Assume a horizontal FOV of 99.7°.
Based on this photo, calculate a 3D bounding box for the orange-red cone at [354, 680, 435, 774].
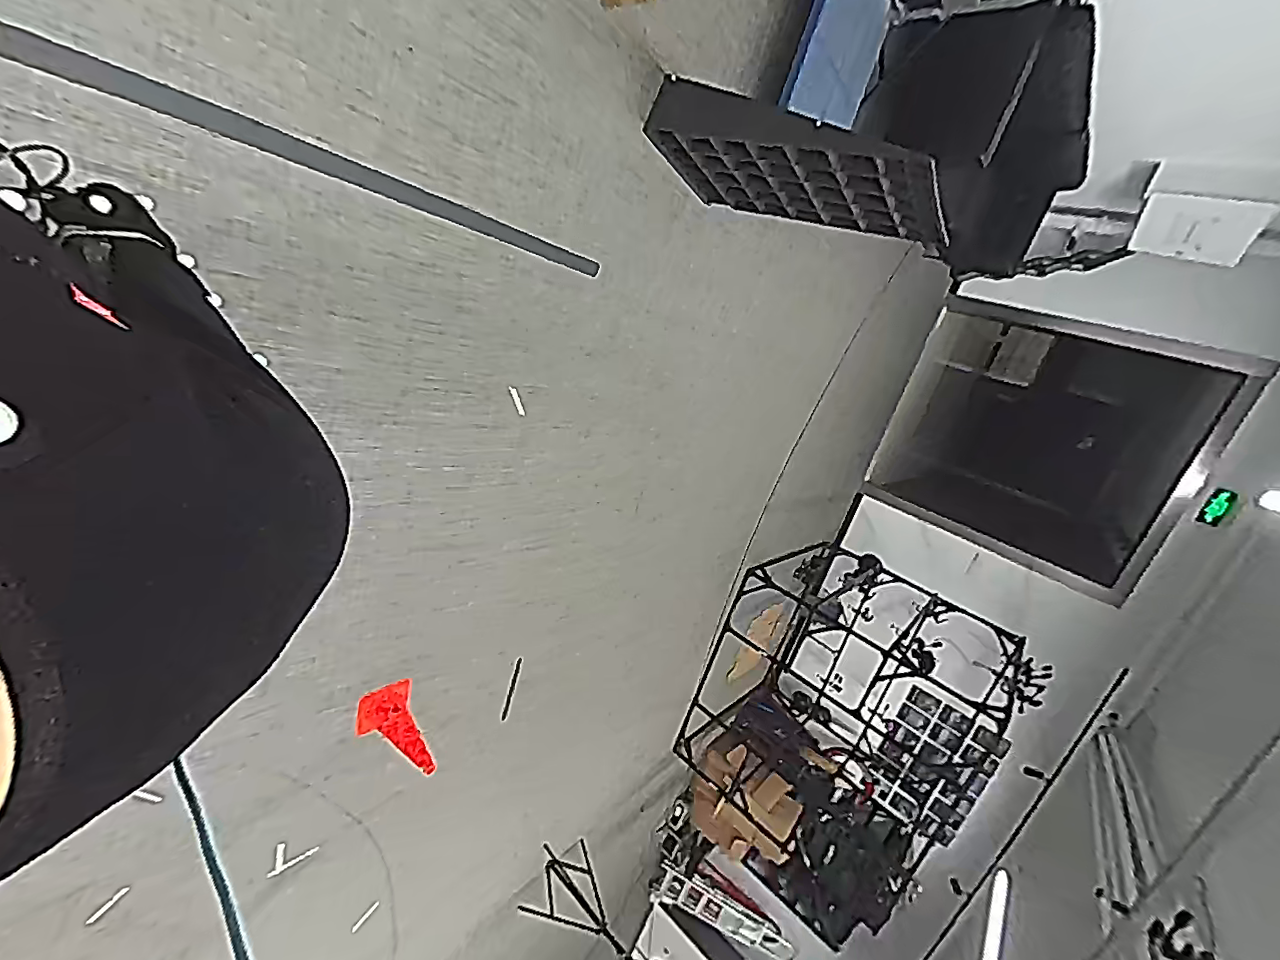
[{"bbox_3d":[-0.865,0.942,1.981,0.198,0.360,0.199,-10,121,-51],"label":"orange-red cone"}]
